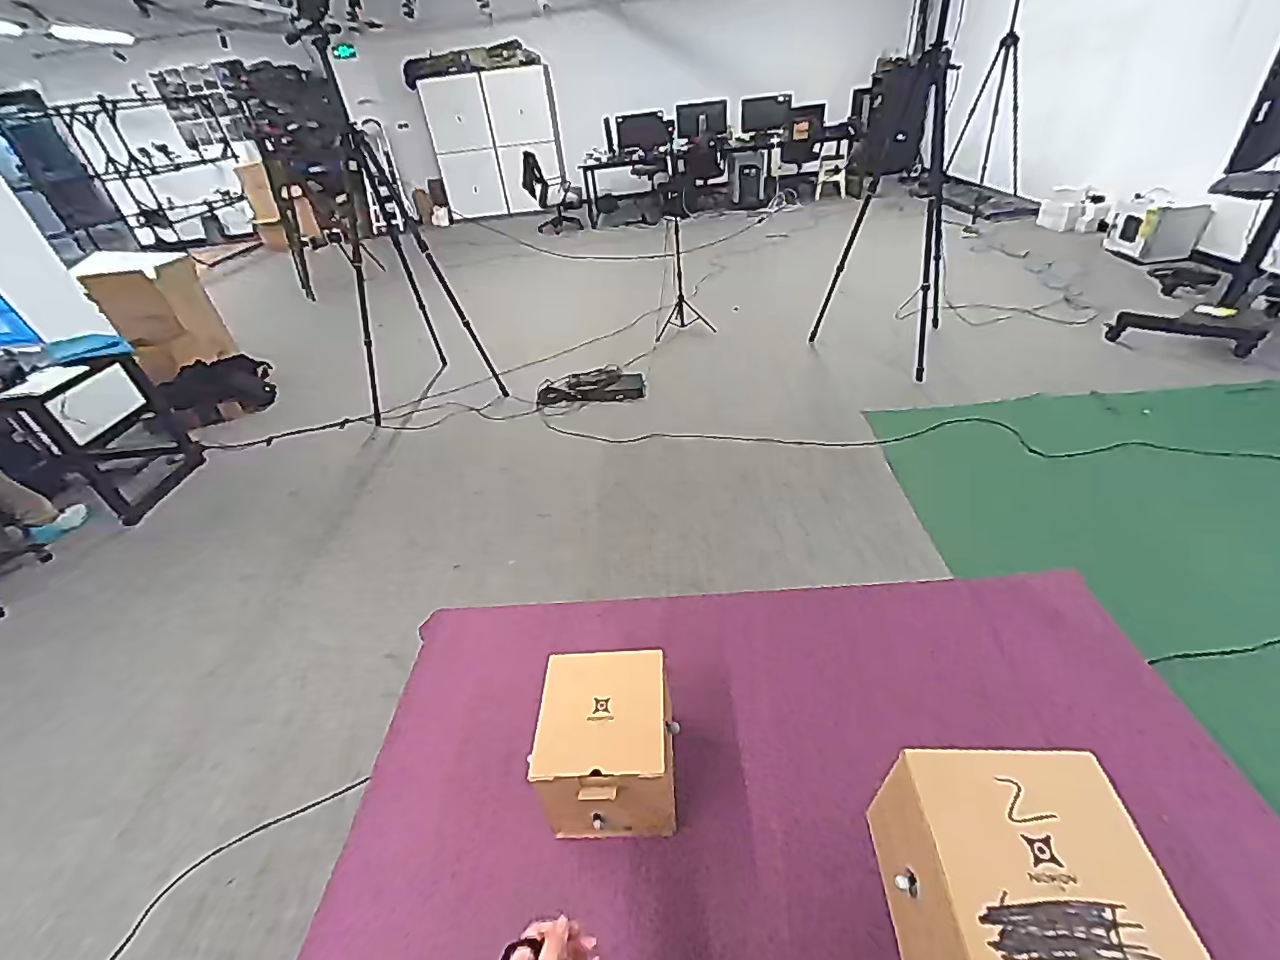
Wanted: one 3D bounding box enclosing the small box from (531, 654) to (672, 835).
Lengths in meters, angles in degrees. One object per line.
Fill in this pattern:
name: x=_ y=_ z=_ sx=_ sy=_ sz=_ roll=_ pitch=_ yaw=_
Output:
small box: x=-0.043 y=0.371 z=0.765 sx=0.168 sy=0.176 sz=0.179 roll=-4 pitch=37 yaw=5
